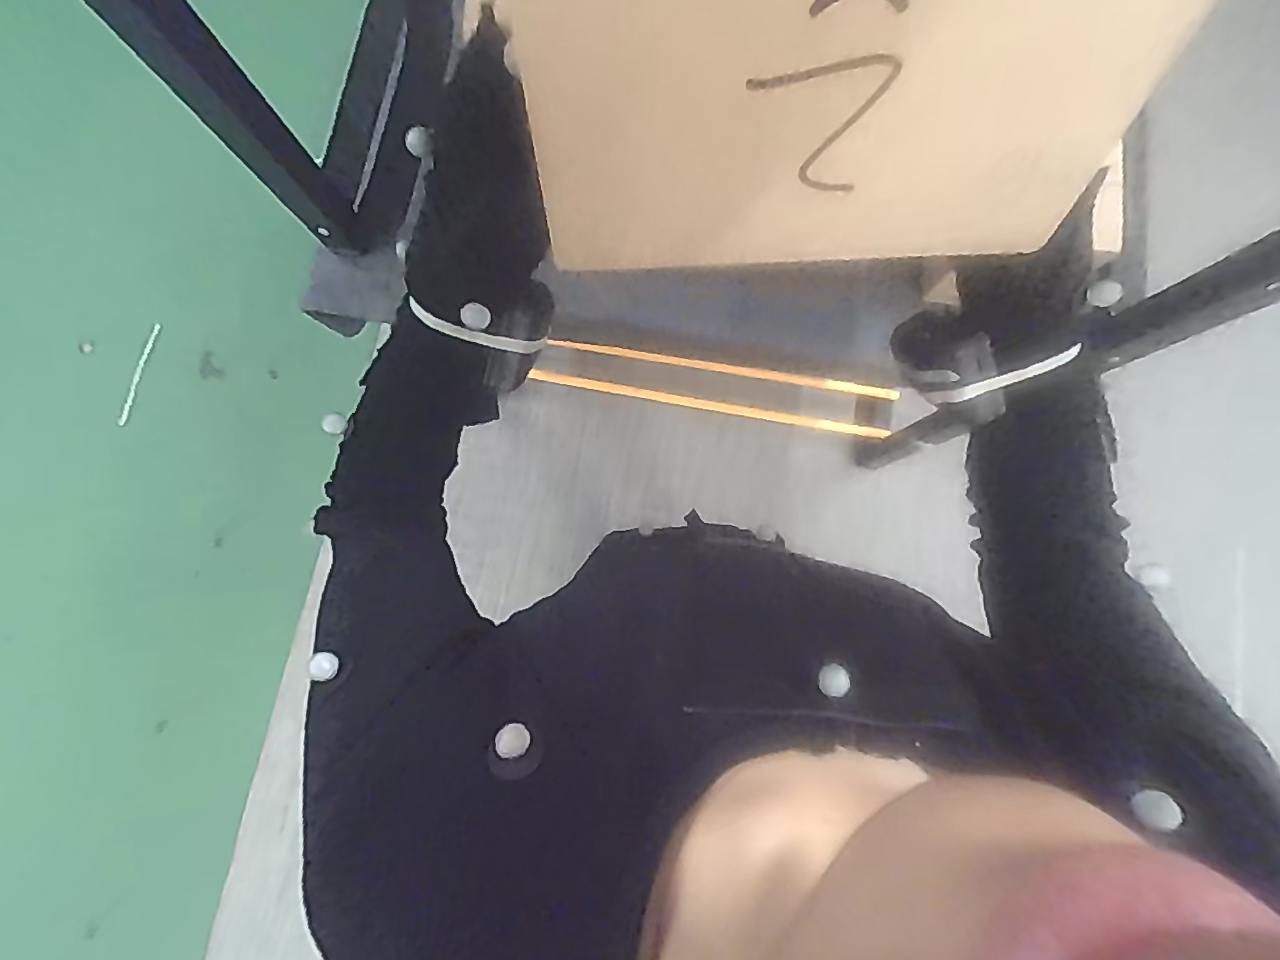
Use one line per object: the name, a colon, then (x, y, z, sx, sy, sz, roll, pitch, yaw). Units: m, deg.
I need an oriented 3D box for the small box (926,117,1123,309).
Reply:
small box: (0.530, -0.365, 0.767, 0.168, 0.176, 0.179, 8, 80, 1)
